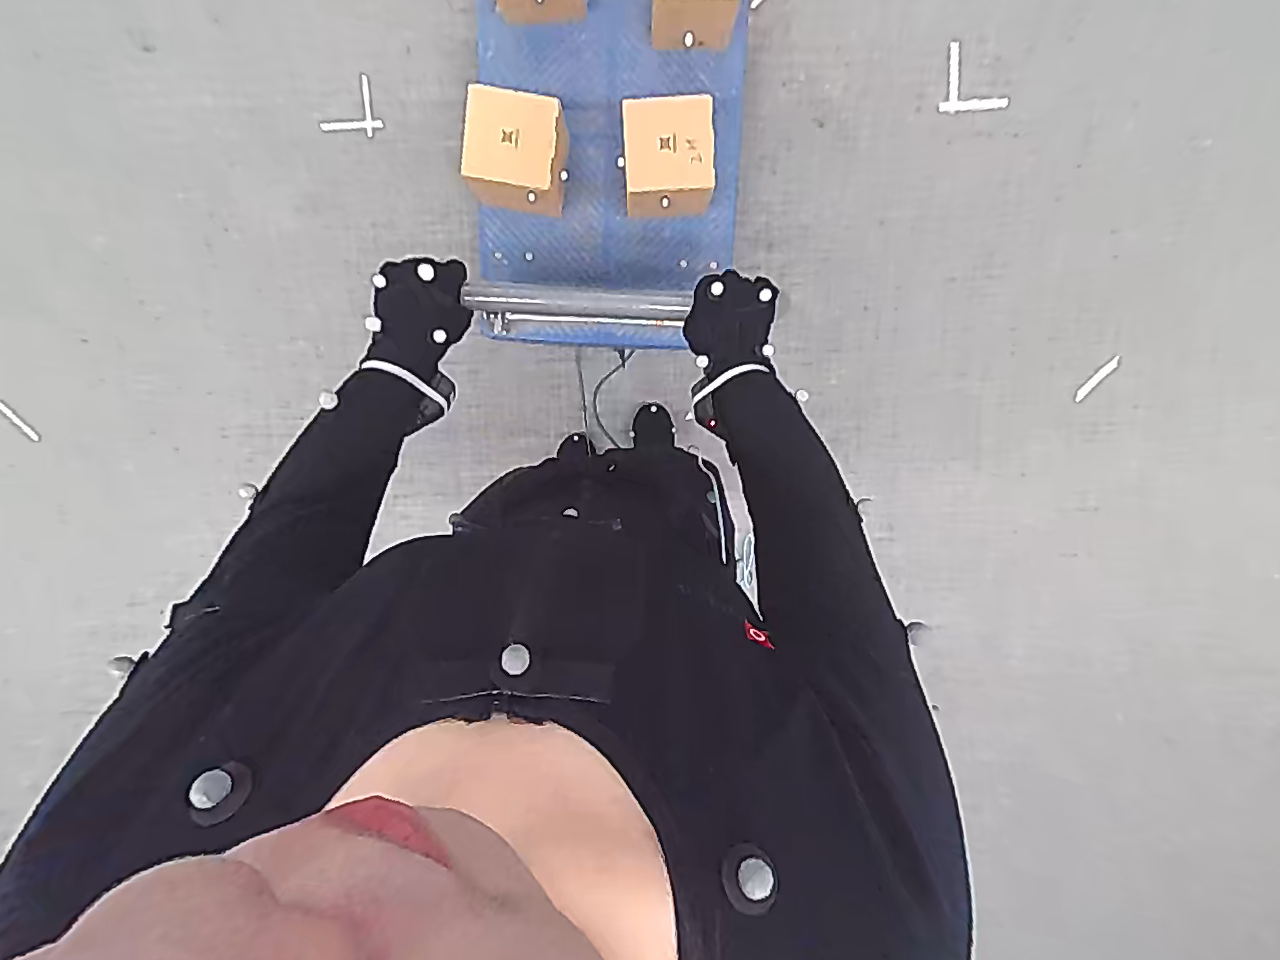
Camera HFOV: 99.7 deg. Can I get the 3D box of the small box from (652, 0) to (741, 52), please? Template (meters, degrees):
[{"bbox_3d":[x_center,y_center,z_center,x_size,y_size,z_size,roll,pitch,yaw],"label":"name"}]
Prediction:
[{"bbox_3d":[0.109,-1.000,1.073,0.168,0.176,0.179,1,100,-1],"label":"small box"}]

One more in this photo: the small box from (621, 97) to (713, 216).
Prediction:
[{"bbox_3d":[0.055,-0.664,1.128,0.179,0.176,0.168,-3,100,0],"label":"small box"}]

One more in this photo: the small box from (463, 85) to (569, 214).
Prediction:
[{"bbox_3d":[-0.251,-0.674,1.123,0.179,0.176,0.168,8,99,-3],"label":"small box"}]
